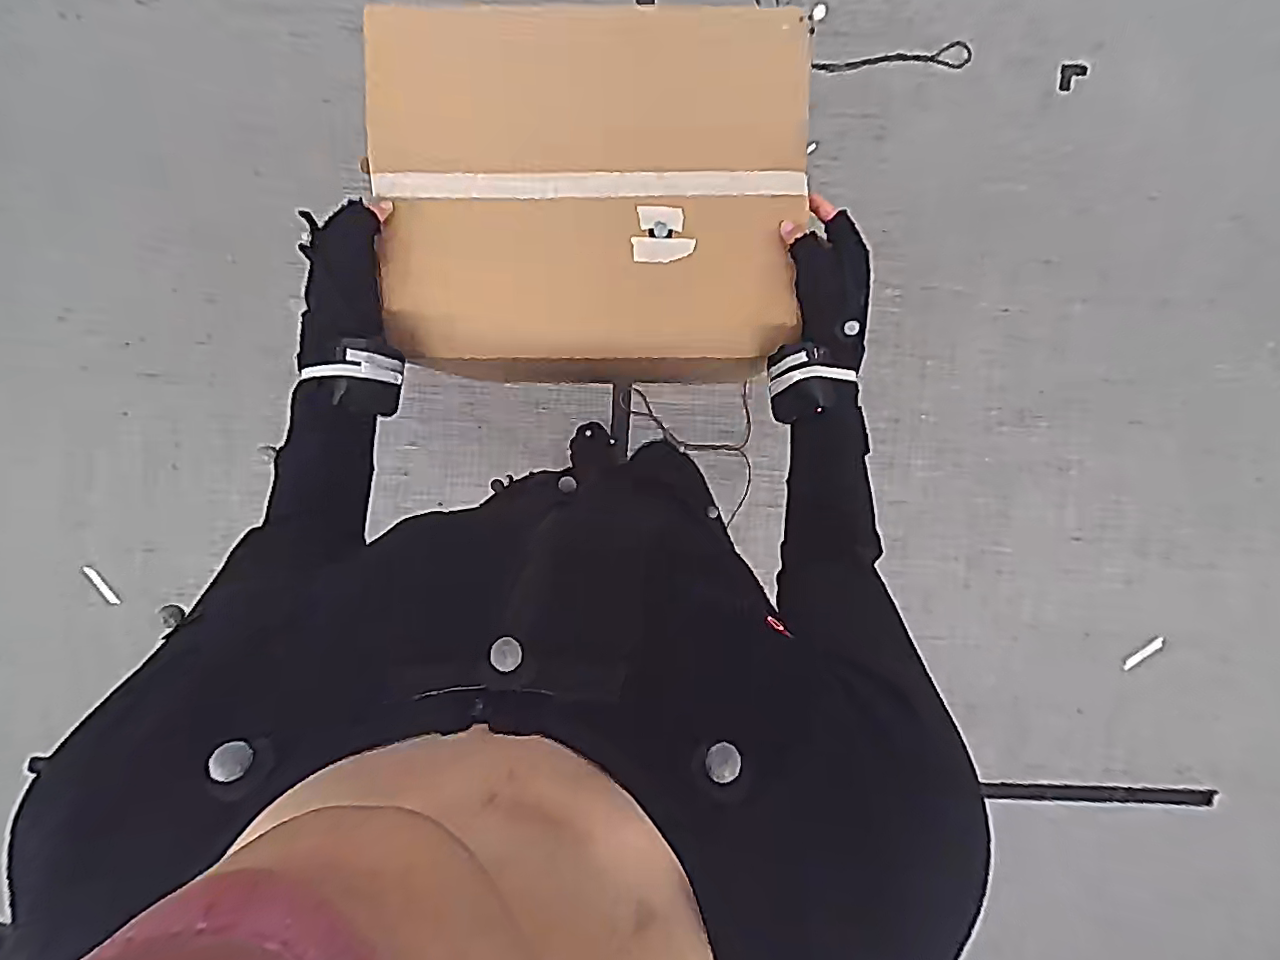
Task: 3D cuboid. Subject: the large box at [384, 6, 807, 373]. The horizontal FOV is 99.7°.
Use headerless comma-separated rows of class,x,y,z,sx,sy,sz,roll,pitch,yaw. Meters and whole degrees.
large box,-0.043,-0.305,0.668,0.408,0.320,0.320,0,97,-1
